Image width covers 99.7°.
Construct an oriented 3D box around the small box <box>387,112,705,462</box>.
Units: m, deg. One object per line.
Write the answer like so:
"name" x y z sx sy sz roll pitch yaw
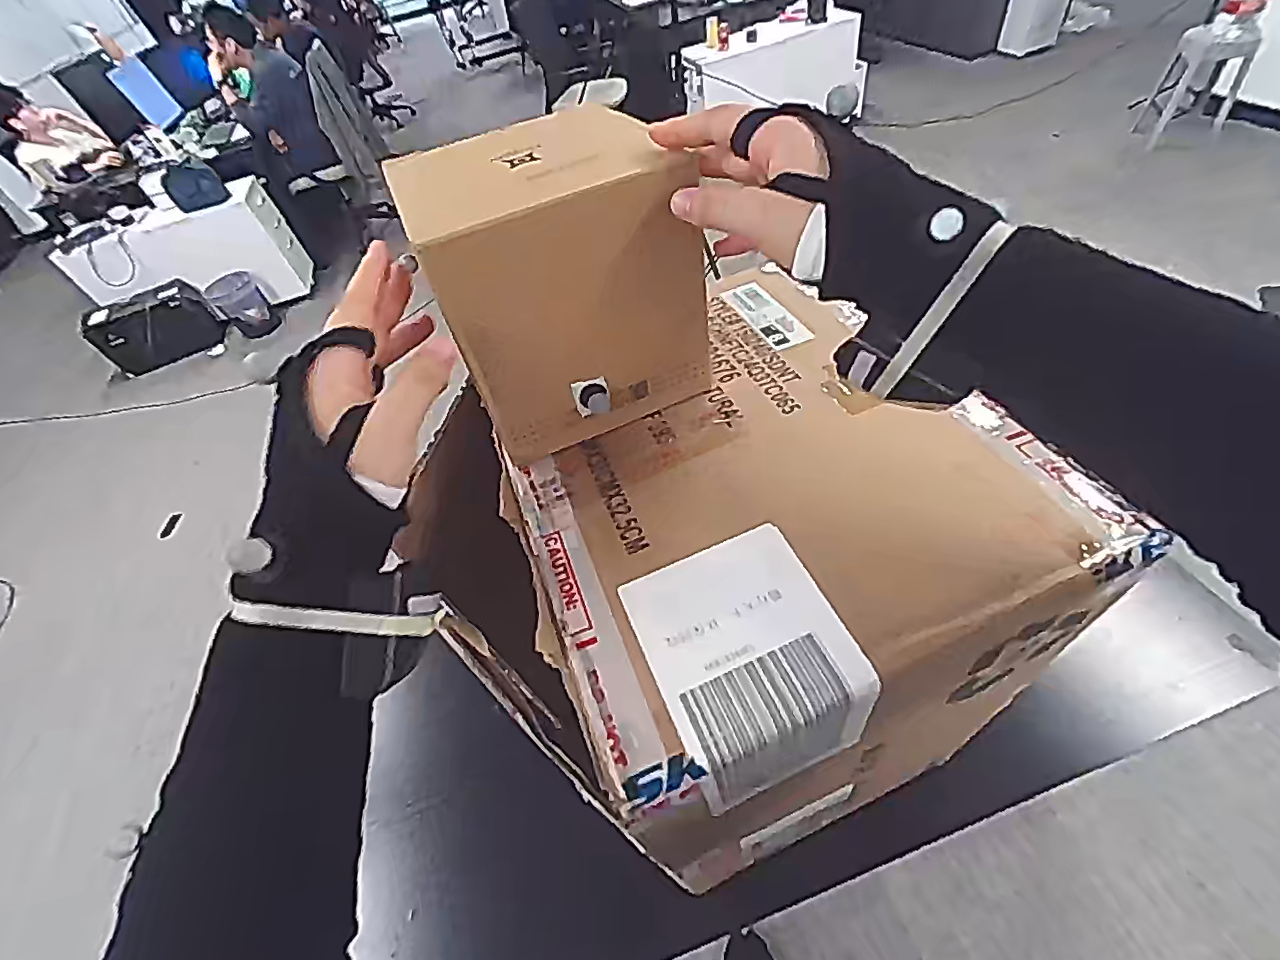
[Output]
"small box" -0.064 -0.145 0.407 0.168 0.176 0.179 -25 48 -10
